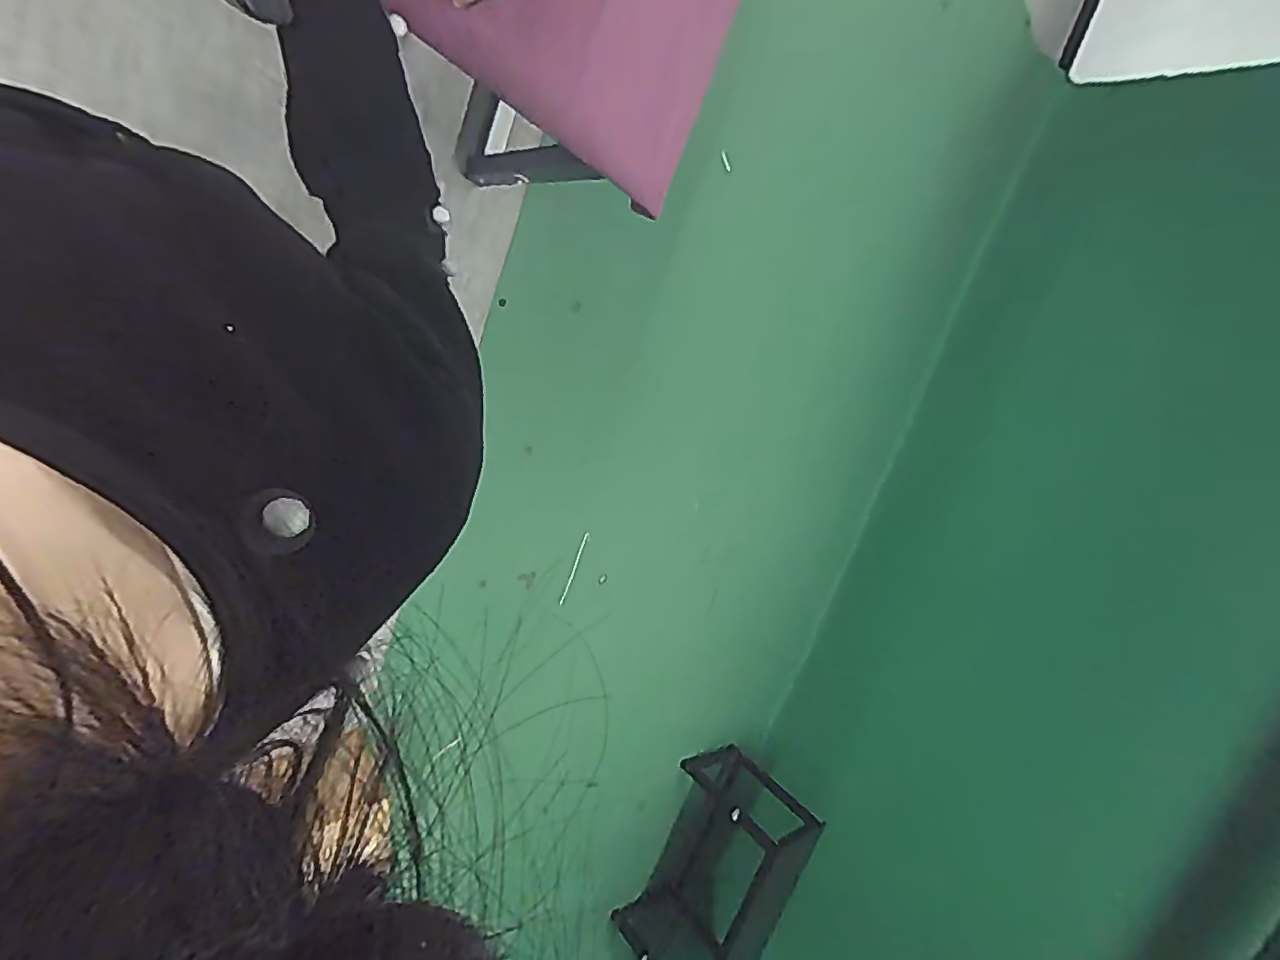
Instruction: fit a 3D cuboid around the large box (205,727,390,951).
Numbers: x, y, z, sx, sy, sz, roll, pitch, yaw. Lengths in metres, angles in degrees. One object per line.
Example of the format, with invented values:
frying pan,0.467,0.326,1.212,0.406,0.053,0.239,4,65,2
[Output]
large box,-0.996,1.015,1.587,0.408,0.320,0.320,-7,116,-42
